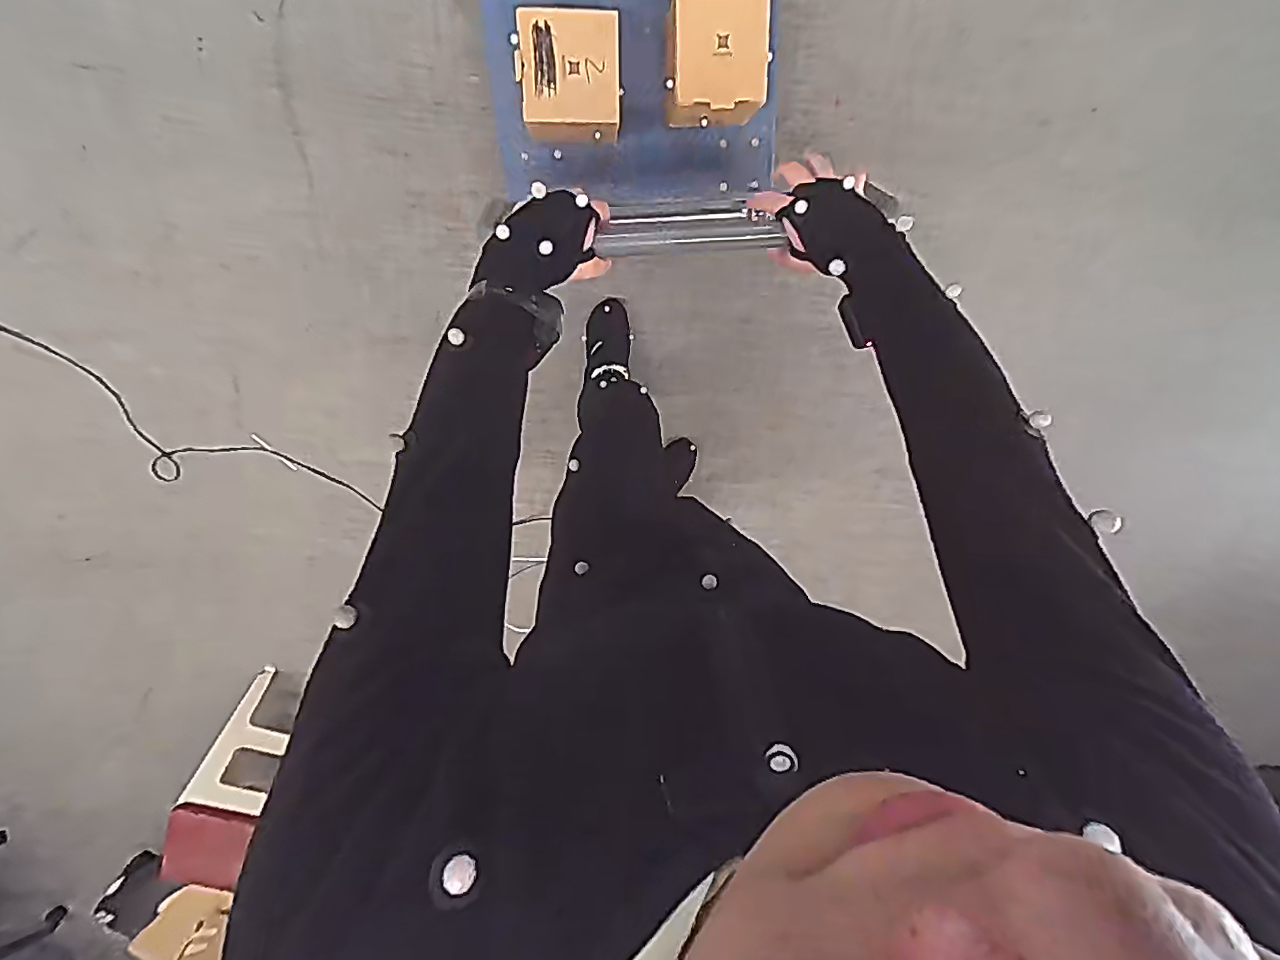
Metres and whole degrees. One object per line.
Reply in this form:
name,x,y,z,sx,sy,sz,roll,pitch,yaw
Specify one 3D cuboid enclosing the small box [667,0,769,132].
small box,0.143,-0.795,1.044,0.168,0.176,0.179,-4,112,-2
